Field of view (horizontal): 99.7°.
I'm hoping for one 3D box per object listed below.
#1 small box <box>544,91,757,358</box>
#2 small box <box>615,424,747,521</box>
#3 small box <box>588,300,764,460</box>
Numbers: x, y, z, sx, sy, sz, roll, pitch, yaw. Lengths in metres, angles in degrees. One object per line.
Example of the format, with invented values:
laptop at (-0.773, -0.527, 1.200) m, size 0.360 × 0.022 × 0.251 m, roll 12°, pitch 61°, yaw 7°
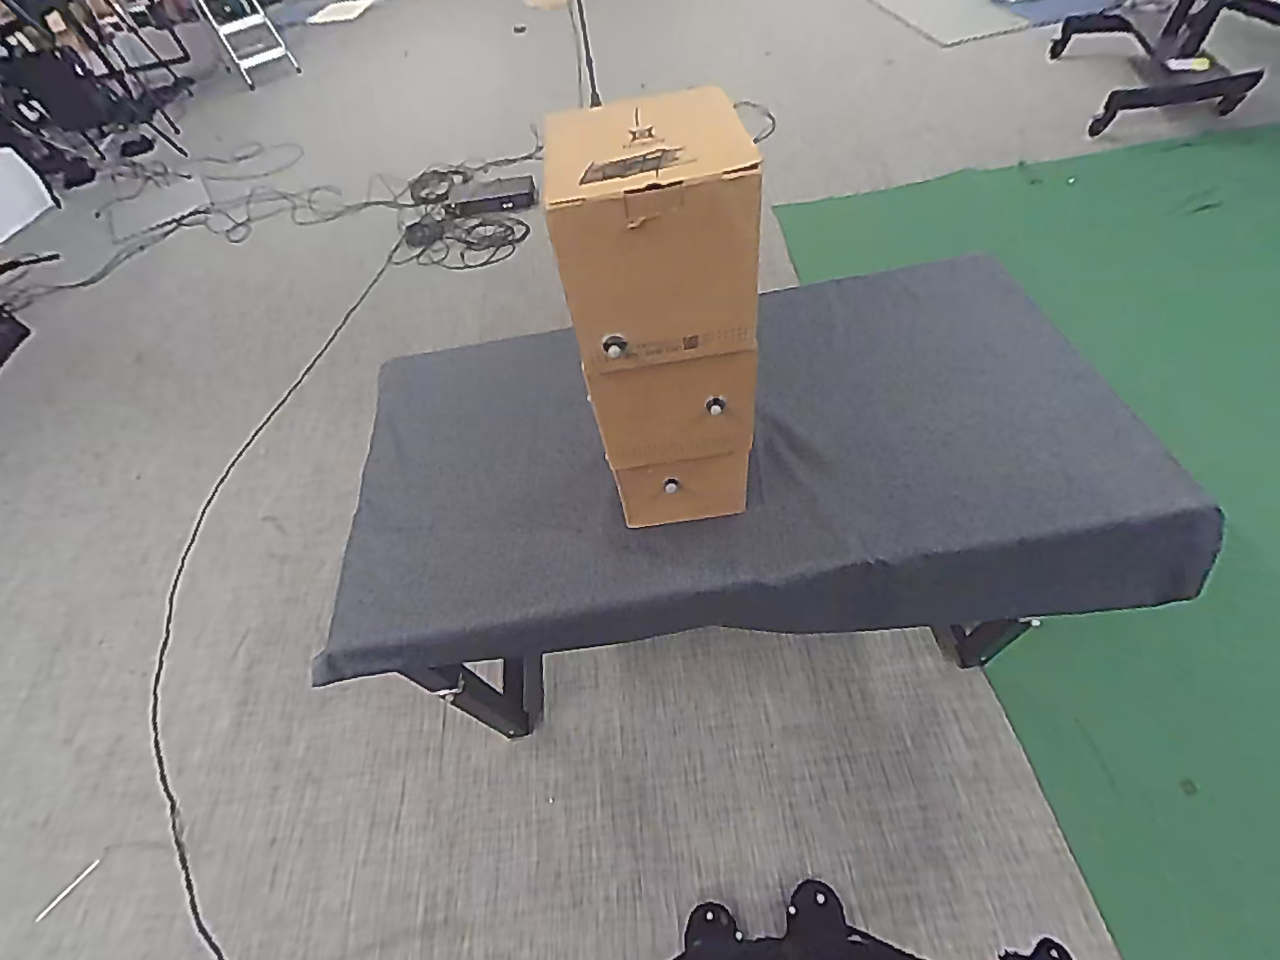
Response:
small box at (0.011, -0.231, 0.515) m, size 0.168 × 0.176 × 0.179 m, roll -8°, pitch 52°, yaw 2°
small box at (0.051, -0.057, 0.792) m, size 0.179 × 0.176 × 0.168 m, roll -10°, pitch 53°, yaw 0°
small box at (0.032, -0.145, 0.634) m, size 0.179 × 0.176 × 0.168 m, roll -11°, pitch 54°, yaw 0°
